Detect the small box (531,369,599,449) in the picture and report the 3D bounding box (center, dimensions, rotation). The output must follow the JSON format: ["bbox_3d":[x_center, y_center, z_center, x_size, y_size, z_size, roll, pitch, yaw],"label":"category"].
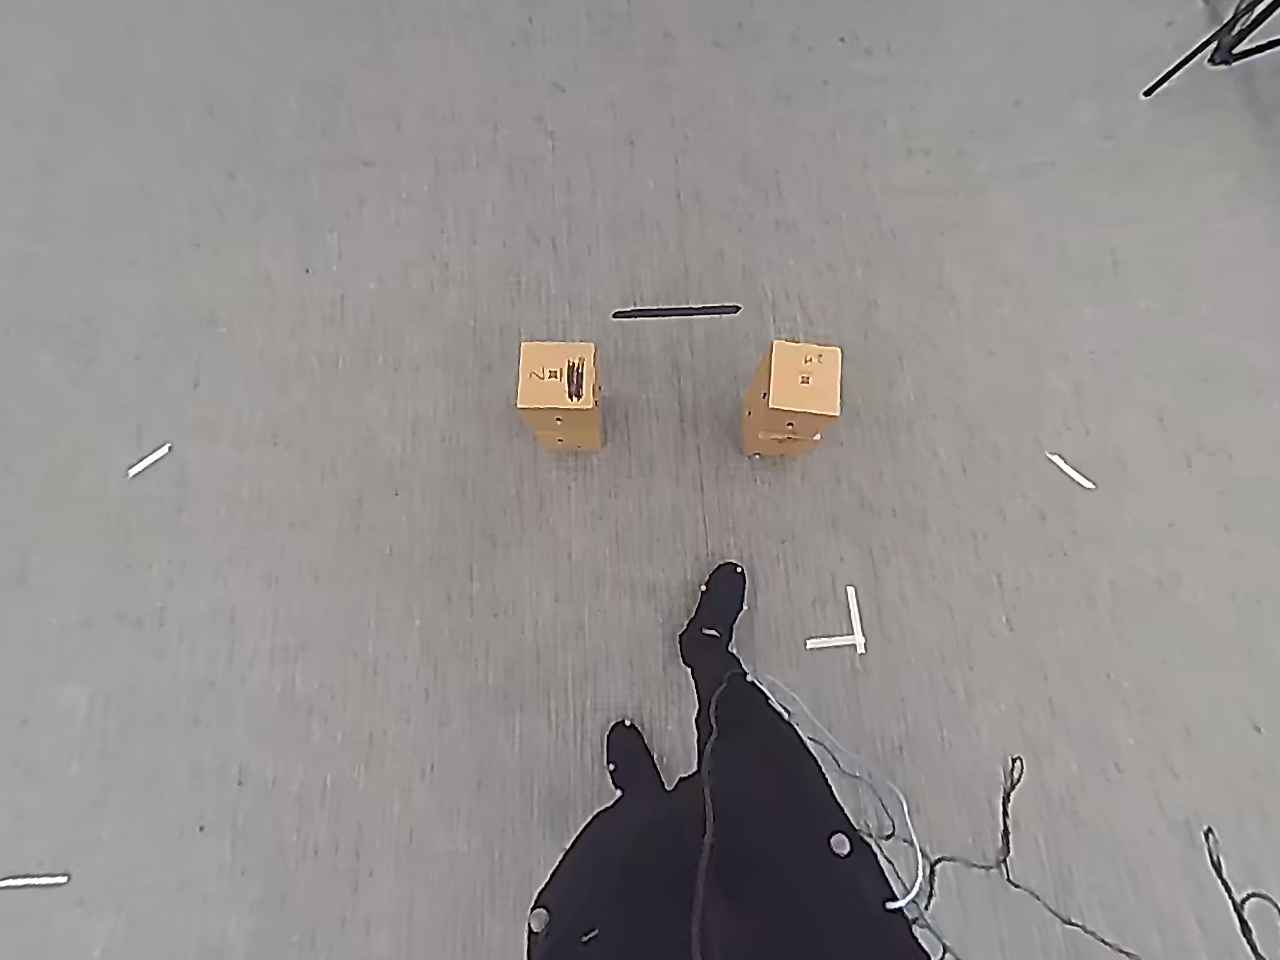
[{"bbox_3d":[-0.199,-0.187,1.474,0.168,0.176,0.179,-1,76,-1],"label":"small box"}]

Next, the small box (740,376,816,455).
[{"bbox_3d":[0.374,-0.173,1.488,0.168,0.176,0.179,1,76,-2],"label":"small box"}]

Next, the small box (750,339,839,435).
[{"bbox_3d":[0.373,-0.222,1.330,0.168,0.176,0.179,7,76,-1],"label":"small box"}]
